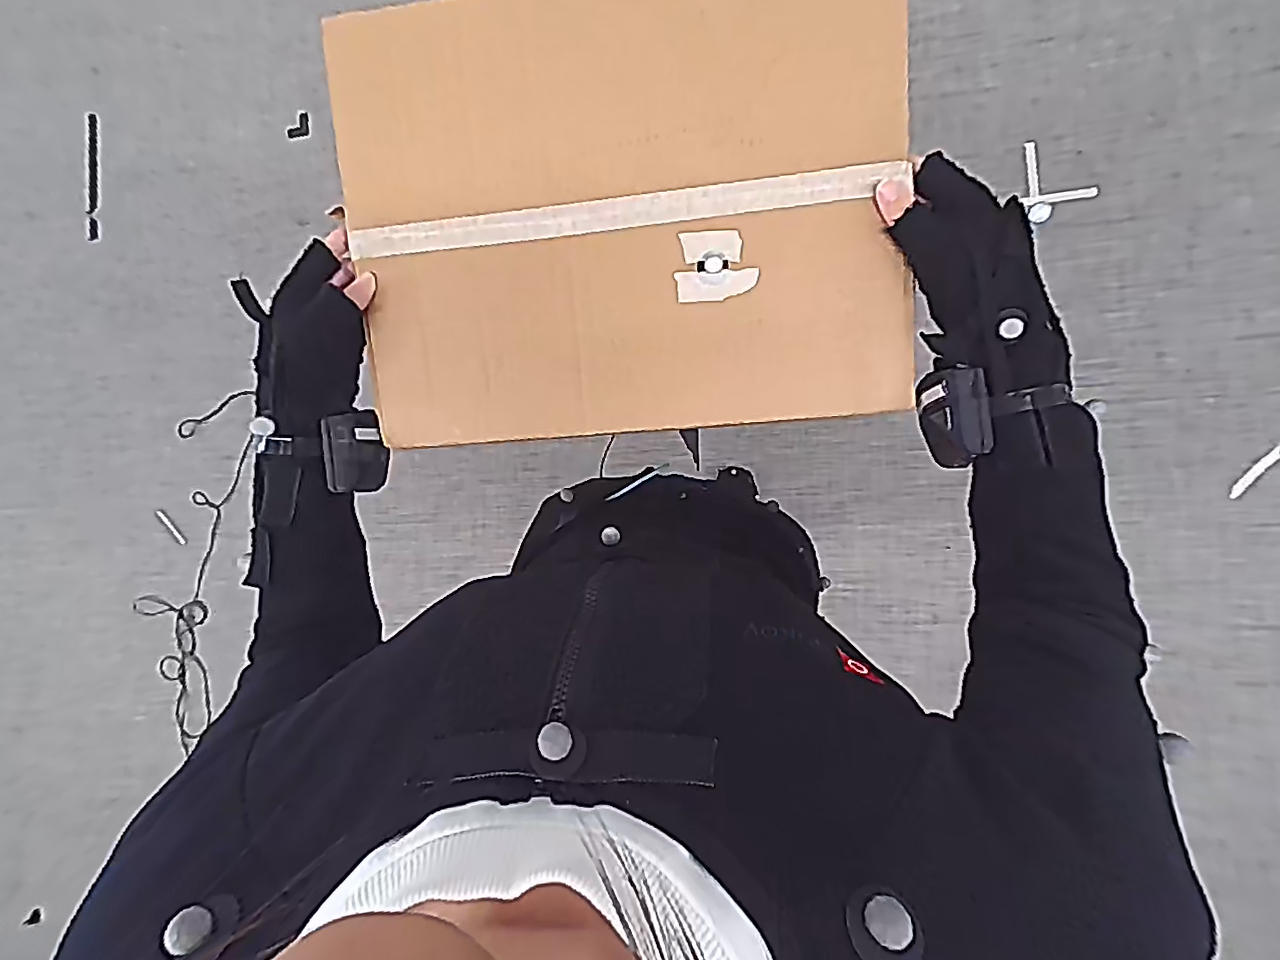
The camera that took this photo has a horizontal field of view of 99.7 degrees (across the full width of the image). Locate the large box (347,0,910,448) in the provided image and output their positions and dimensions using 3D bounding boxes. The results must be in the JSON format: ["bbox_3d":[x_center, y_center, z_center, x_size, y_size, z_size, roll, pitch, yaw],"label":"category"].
[{"bbox_3d":[0.001,-0.214,0.550,0.408,0.320,0.320,-5,98,5],"label":"large box"}]
